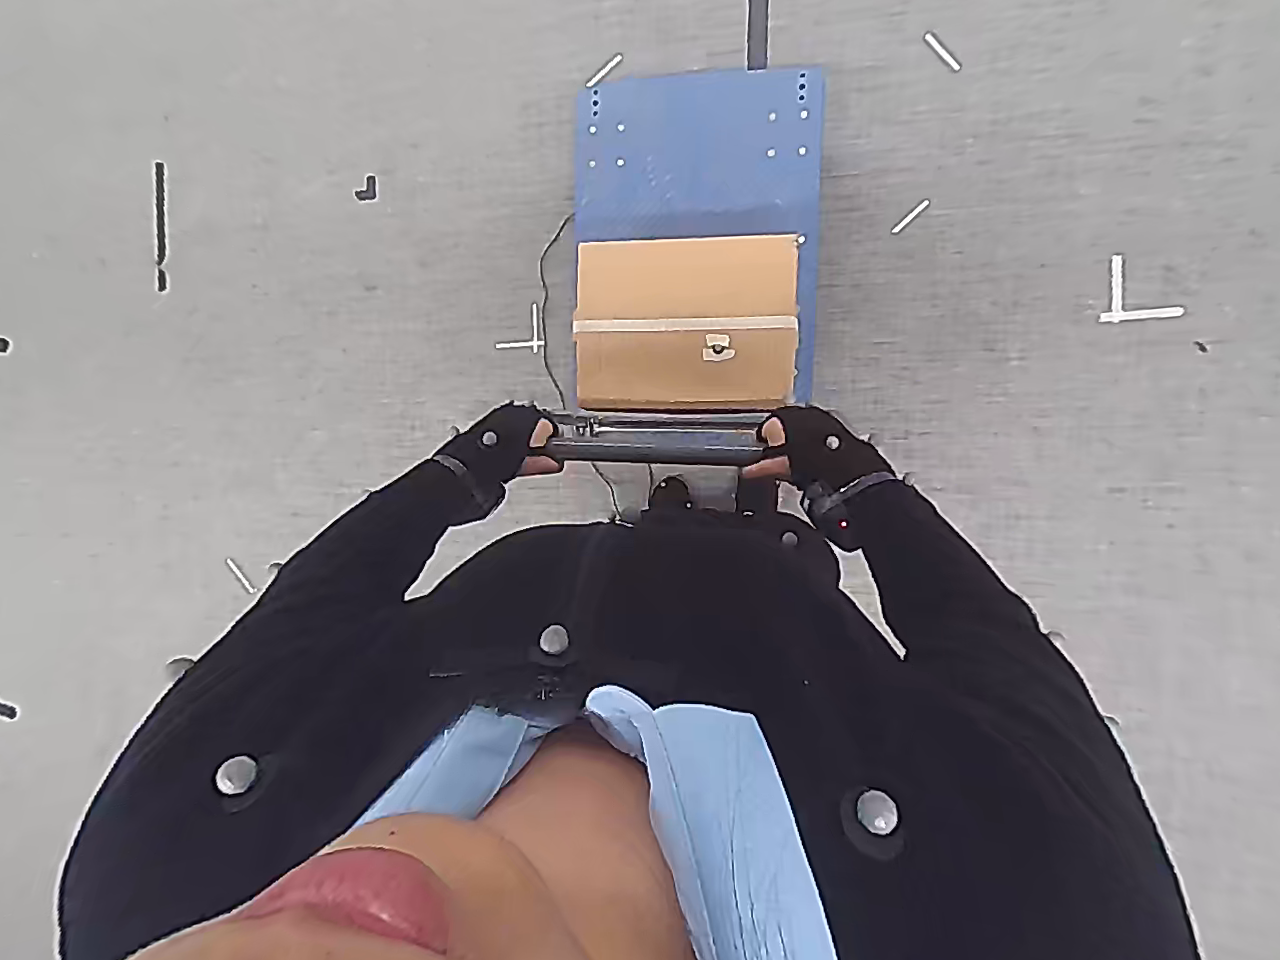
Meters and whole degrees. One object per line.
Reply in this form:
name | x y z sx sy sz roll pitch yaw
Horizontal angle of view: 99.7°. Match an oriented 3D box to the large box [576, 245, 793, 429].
large box | 0.095 -0.274 1.144 0.408 0.320 0.320 1 93 8
